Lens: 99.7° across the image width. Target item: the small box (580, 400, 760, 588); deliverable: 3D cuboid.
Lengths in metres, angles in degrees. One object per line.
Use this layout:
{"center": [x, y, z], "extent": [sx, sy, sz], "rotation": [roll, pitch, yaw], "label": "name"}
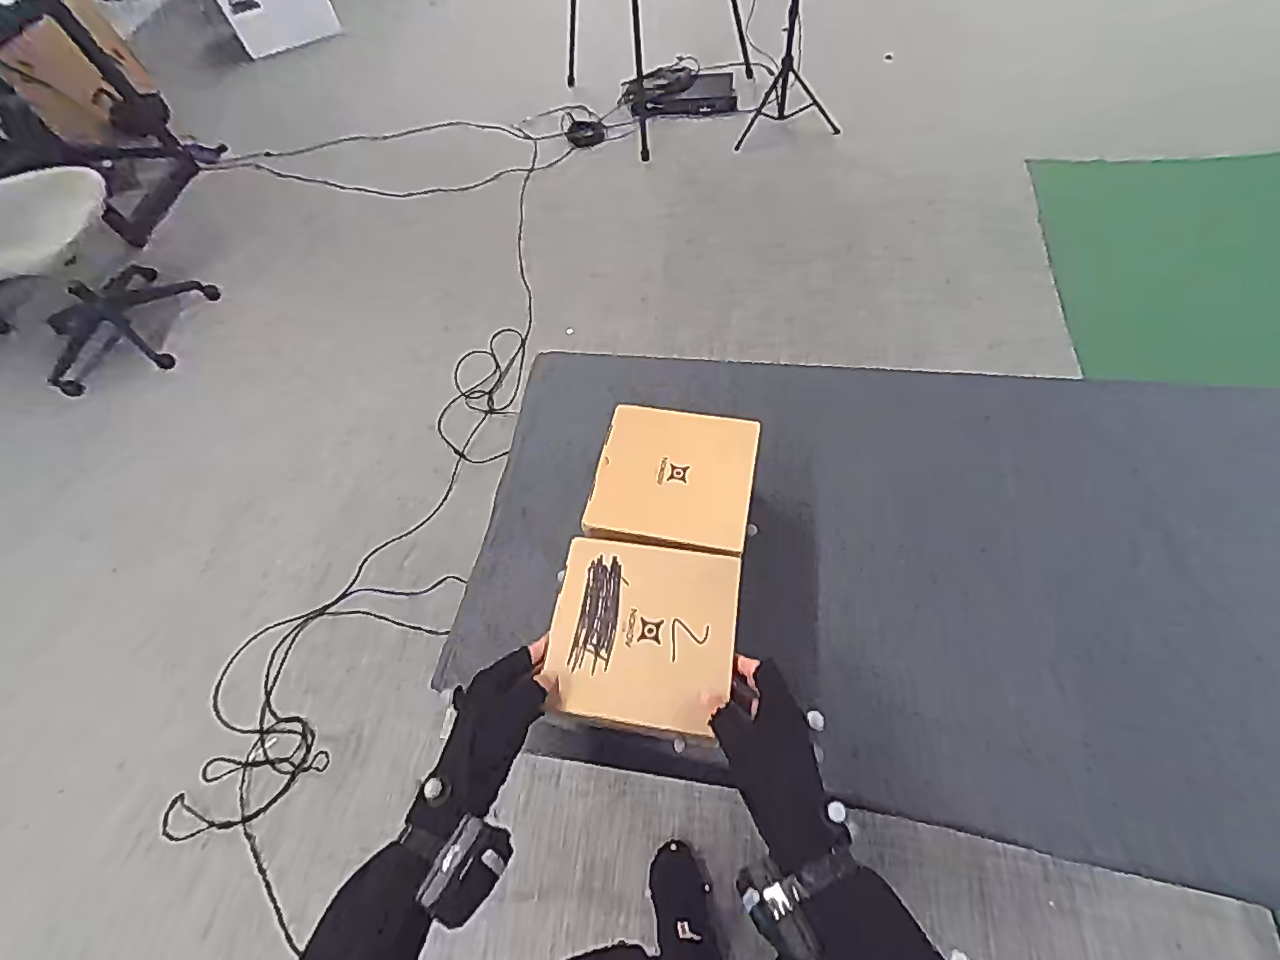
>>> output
{"center": [0.044, 0.025, 0.673], "extent": [0.179, 0.176, 0.168], "rotation": [8, 62, 12], "label": "small box"}
